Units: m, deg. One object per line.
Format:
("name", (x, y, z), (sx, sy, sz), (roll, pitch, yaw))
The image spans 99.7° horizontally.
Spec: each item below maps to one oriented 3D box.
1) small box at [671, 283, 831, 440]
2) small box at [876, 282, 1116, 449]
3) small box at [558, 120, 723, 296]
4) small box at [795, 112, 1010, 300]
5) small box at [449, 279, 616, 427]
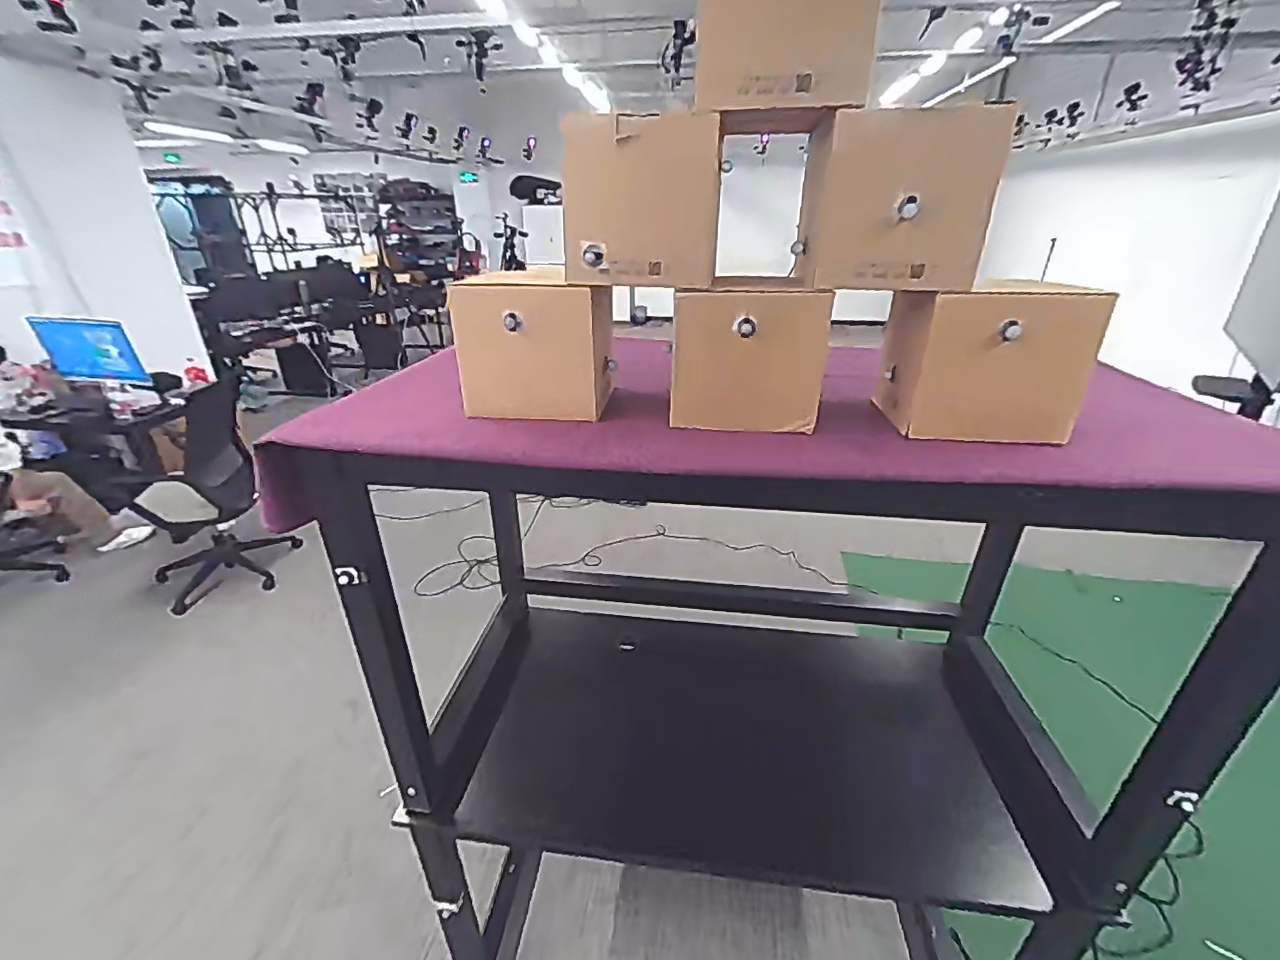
("small box", (0.133, -0.156, 0.693), (0.179, 0.176, 0.168), (4, 26, 8))
("small box", (0.409, -0.143, 0.660), (0.179, 0.176, 0.168), (2, 25, 8))
("small box", (0.010, -0.318, 0.651), (0.168, 0.176, 0.179), (5, 25, 9))
("small box", (0.276, -0.302, 0.616), (0.168, 0.176, 0.179), (3, 26, 7))
("small box", (-0.131, -0.176, 0.735), (0.179, 0.176, 0.168), (2, 27, 6))
